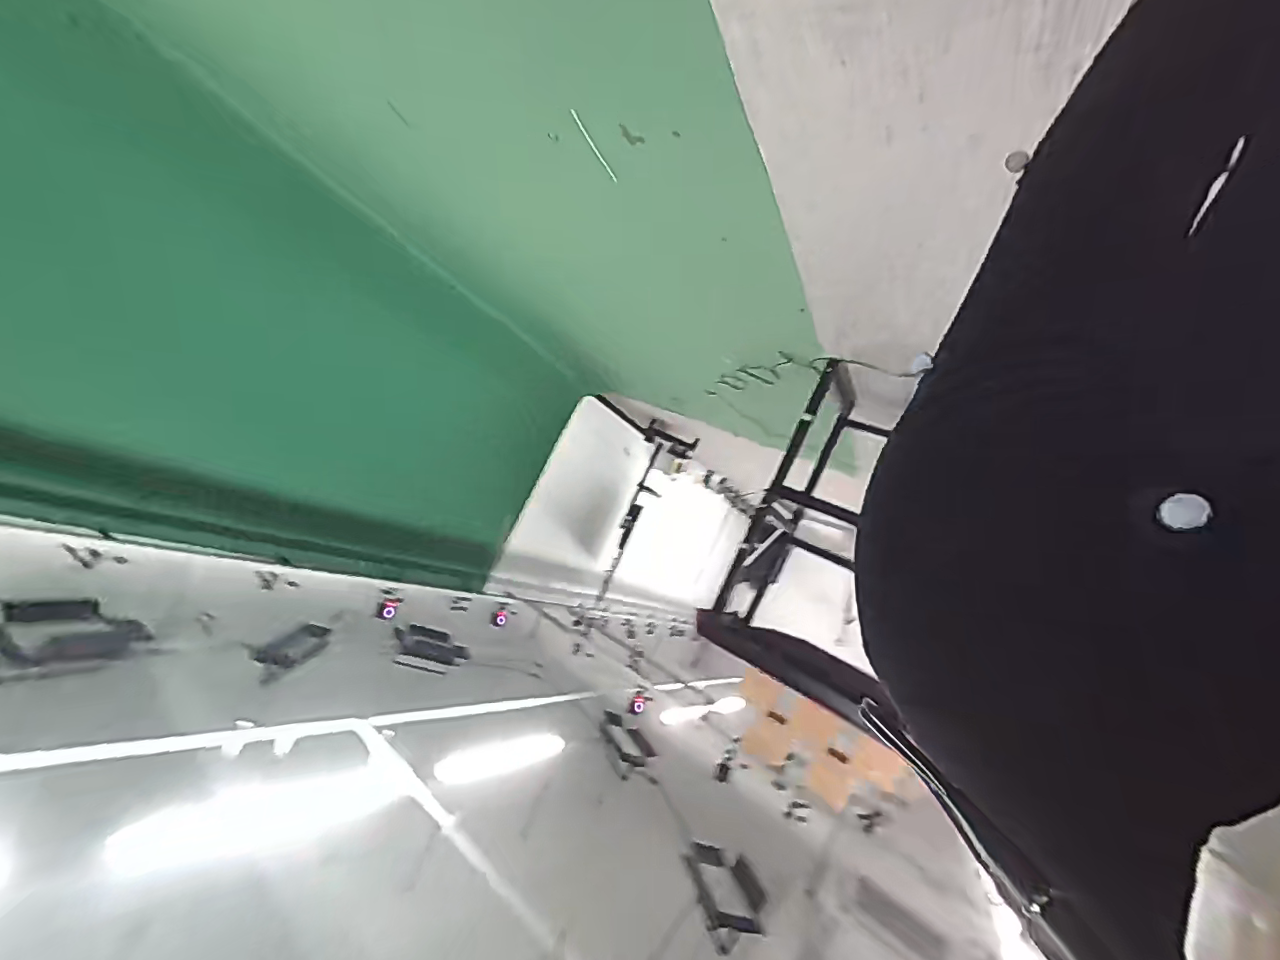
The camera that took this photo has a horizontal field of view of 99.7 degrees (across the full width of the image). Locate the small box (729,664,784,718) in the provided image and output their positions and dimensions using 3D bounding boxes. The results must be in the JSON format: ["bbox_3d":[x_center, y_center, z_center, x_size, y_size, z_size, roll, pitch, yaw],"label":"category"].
[{"bbox_3d":[0.526,0.940,2.425,0.168,0.176,0.179,25,174,30],"label":"small box"}]

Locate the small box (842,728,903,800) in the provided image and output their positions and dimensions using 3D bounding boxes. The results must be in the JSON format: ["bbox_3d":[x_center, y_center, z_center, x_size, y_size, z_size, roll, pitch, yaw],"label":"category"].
[{"bbox_3d":[0.925,1.120,2.146,0.179,0.176,0.168,26,176,28],"label":"small box"}]

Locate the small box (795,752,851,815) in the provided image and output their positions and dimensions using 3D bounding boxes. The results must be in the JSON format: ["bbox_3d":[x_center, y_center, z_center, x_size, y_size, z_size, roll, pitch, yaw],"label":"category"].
[{"bbox_3d":[0.759,1.225,2.214,0.168,0.176,0.179,25,176,32],"label":"small box"}]

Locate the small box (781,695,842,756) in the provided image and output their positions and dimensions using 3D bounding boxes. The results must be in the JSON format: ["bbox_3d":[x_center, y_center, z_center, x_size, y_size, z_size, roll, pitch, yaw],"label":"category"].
[{"bbox_3d":[0.727,1.029,2.283,0.179,0.176,0.168,23,175,34],"label":"small box"}]
